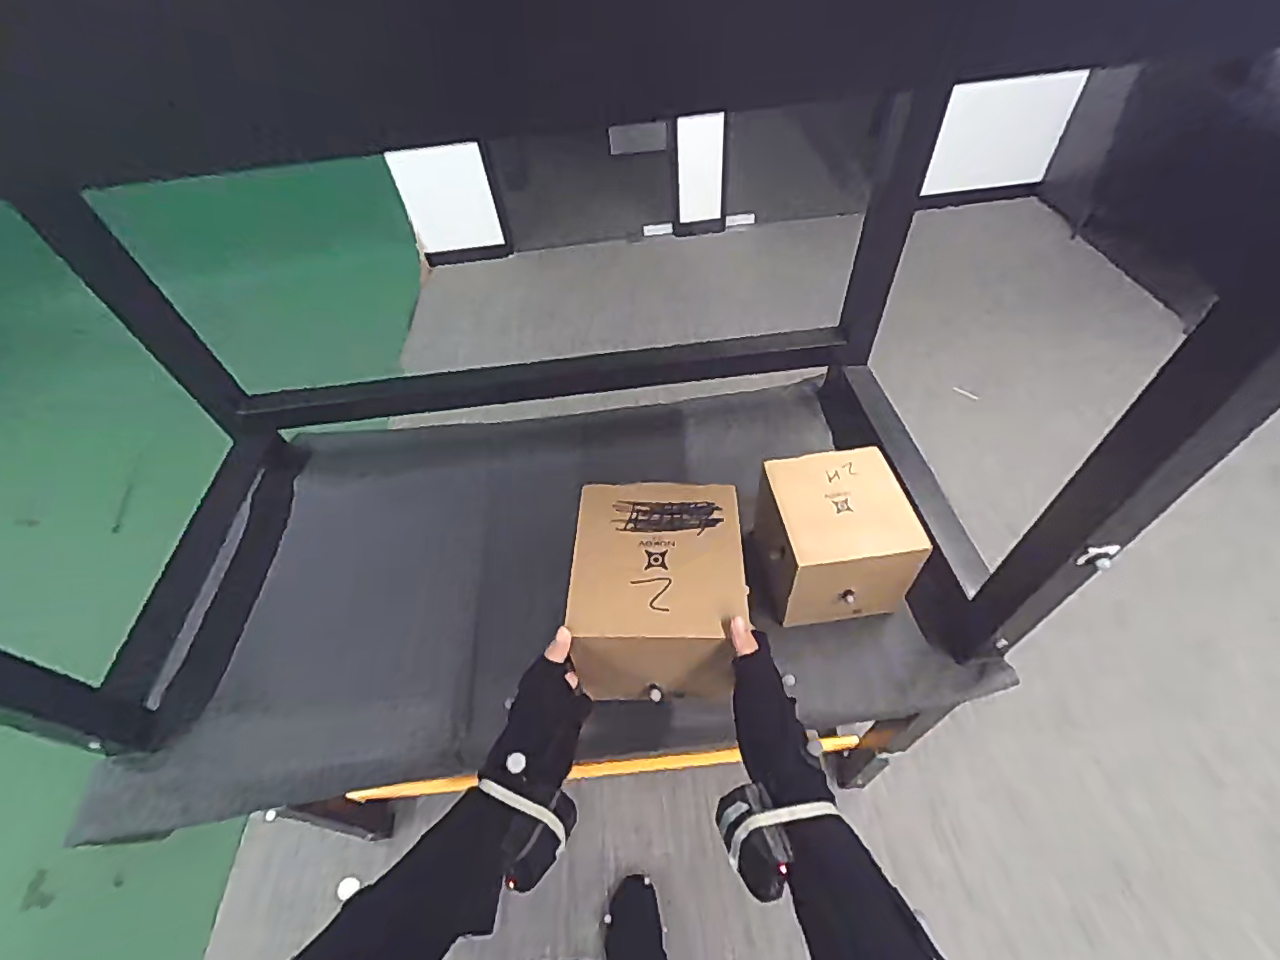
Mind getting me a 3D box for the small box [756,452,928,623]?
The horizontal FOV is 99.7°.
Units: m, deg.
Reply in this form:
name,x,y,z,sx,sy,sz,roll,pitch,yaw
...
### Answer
name,x,y,z,sx,sy,sz,roll,pitch,yaw
small box,0.268,0.088,0.766,0.168,0.176,0.179,-8,48,-1
